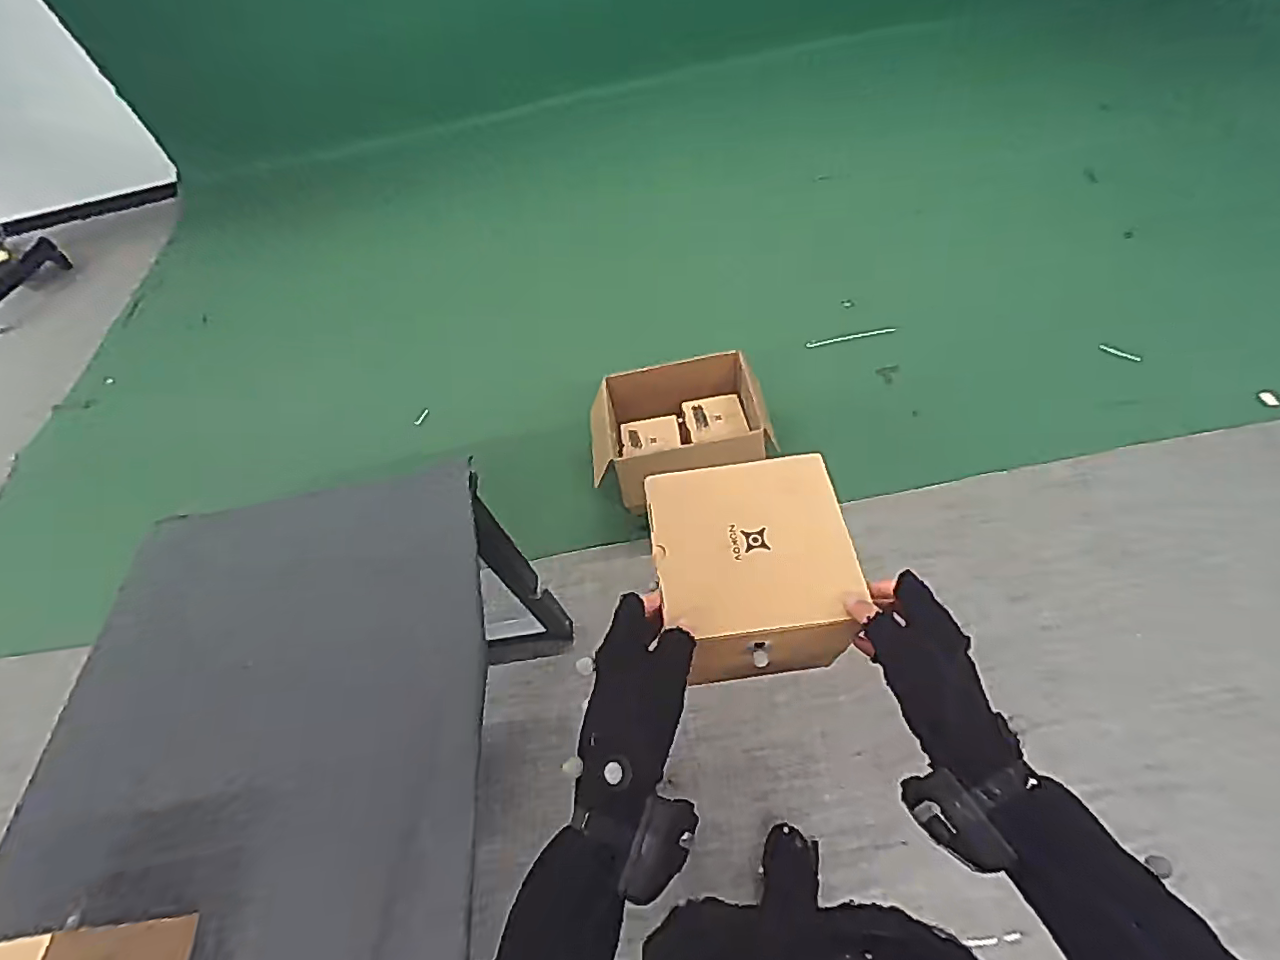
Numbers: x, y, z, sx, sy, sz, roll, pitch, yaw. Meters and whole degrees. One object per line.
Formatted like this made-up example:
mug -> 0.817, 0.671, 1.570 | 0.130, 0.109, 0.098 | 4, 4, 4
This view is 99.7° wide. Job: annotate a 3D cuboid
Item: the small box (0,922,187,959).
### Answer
small box -> -0.585, 0.539, 0.507 | 0.168, 0.176, 0.179 | -11, 56, 3
